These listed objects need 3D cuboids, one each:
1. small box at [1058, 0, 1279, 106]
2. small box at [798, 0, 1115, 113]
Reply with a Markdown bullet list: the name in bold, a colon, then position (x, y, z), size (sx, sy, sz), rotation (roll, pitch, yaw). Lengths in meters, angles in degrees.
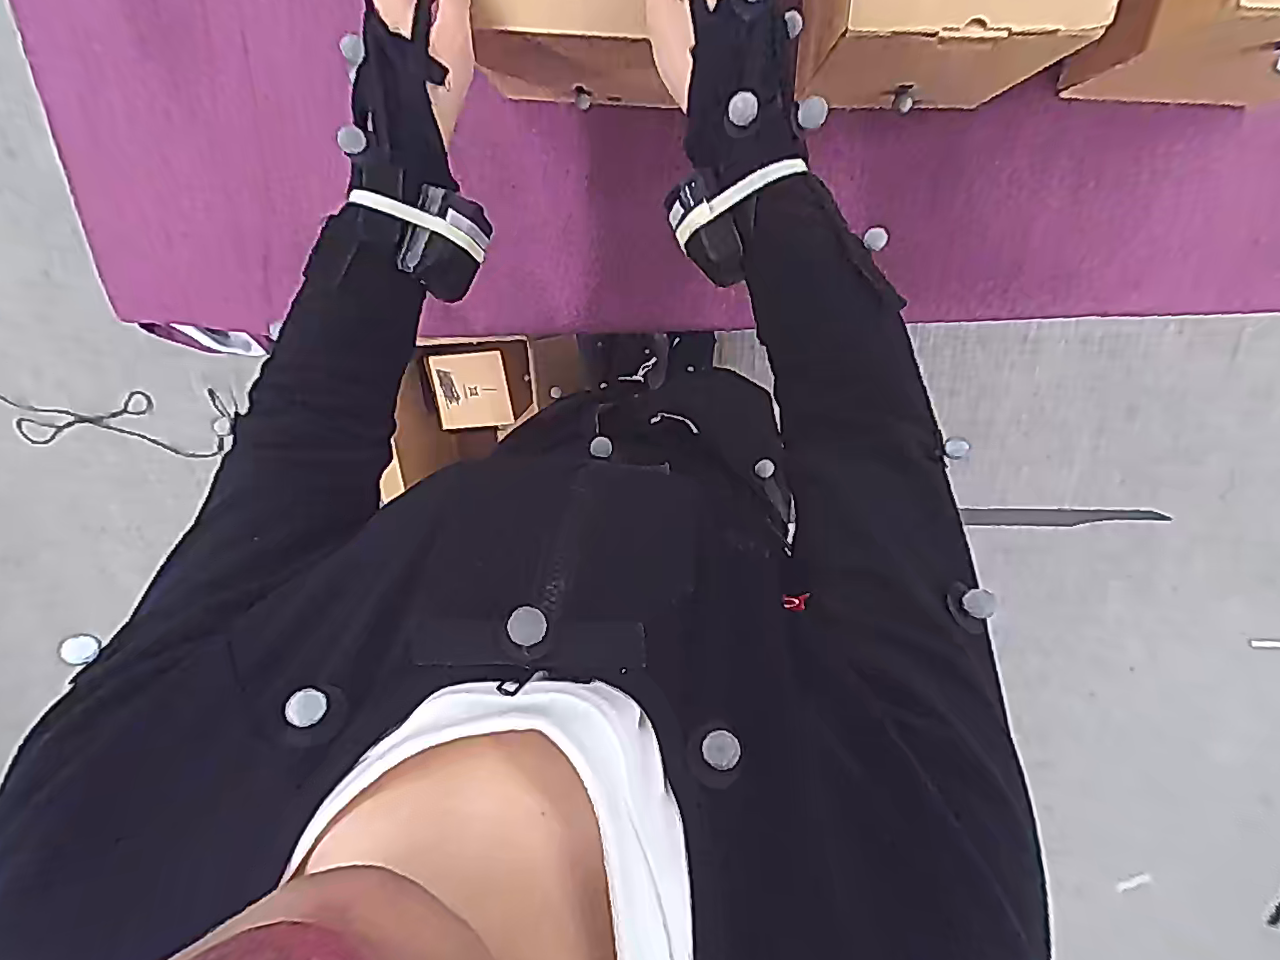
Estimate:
- **small box**: position (0.461, -0.388, 0.384), size (0.179, 0.176, 0.168), rotation (5, 110, 2)
- **small box**: position (0.221, -0.395, 0.392), size (0.168, 0.176, 0.179), rotation (3, 111, 3)
